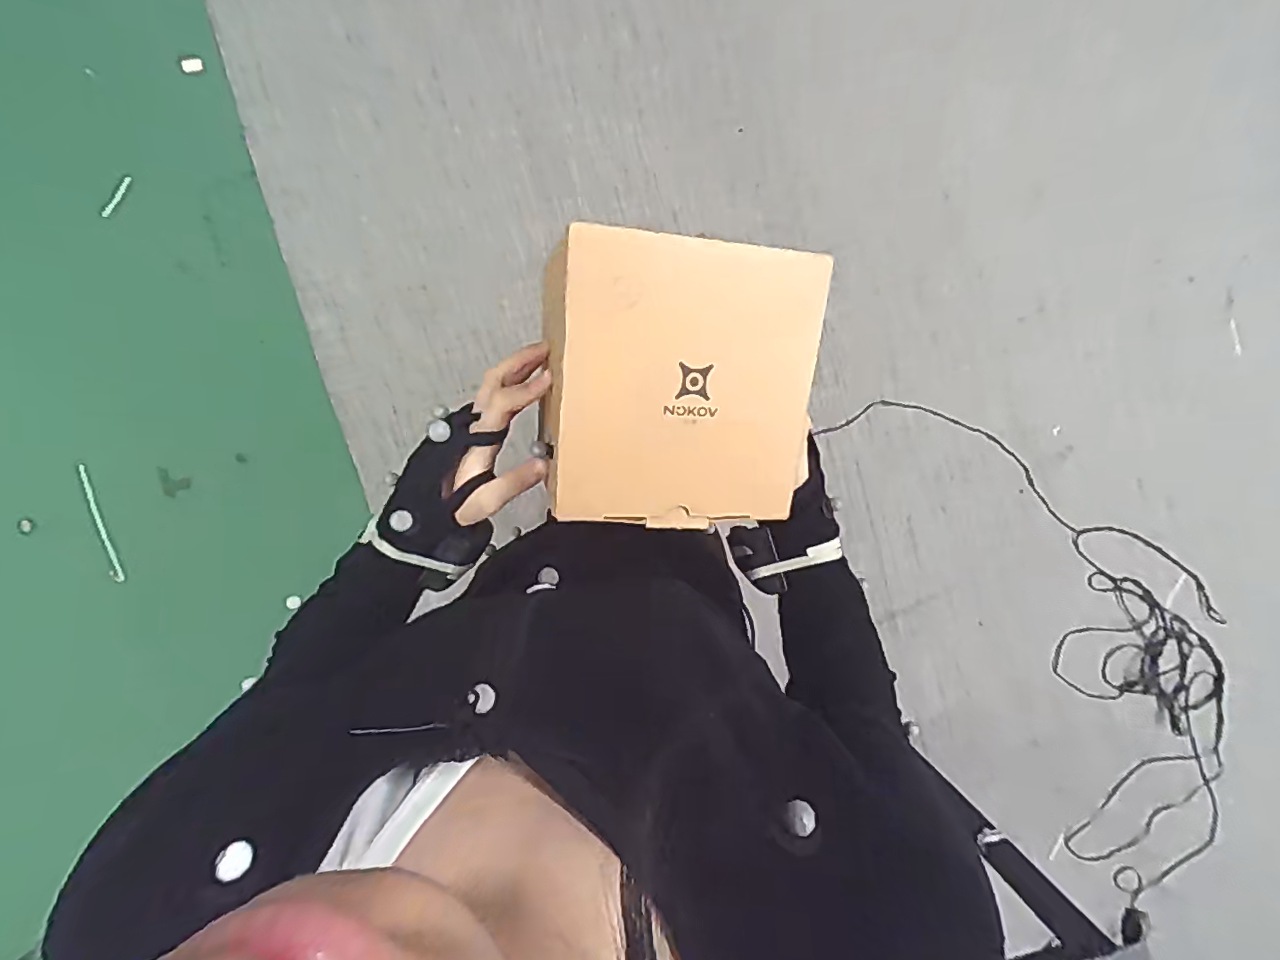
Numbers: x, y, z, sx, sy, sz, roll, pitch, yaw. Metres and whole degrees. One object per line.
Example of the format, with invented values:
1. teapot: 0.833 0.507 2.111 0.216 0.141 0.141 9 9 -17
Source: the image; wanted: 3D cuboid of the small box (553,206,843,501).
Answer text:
1. small box: 0.025 -0.092 0.421 0.168 0.176 0.179 1 106 -15
